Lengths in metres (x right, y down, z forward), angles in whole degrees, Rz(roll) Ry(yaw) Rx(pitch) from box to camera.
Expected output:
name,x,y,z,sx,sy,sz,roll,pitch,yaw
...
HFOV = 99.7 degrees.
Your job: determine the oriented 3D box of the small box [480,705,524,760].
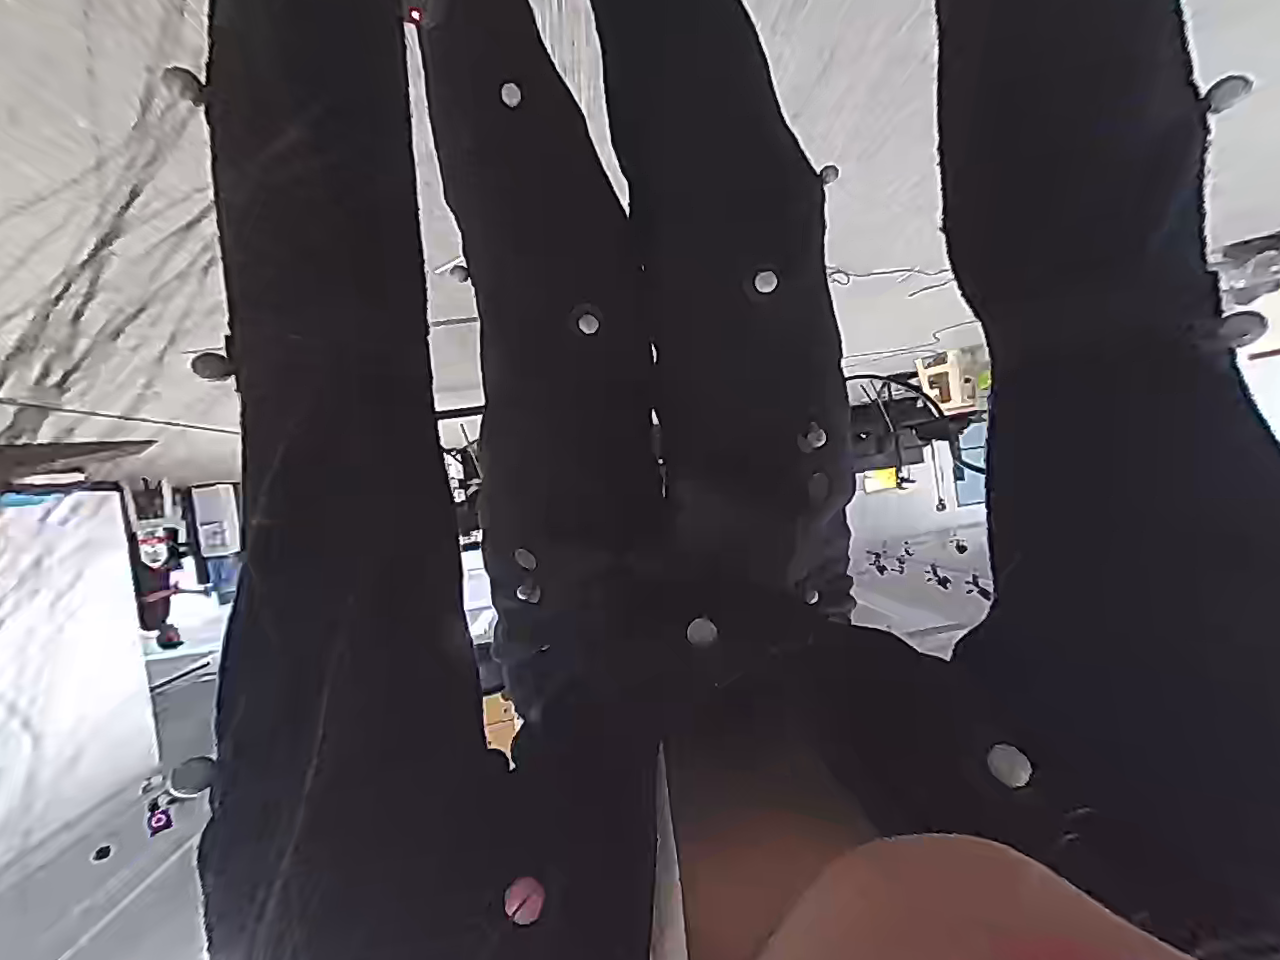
name,x,y,z,sx,sy,sz,roll,pitch,yaw
small box,-0.661,1.205,2.590,0.179,0.176,0.168,-10,-176,-7
